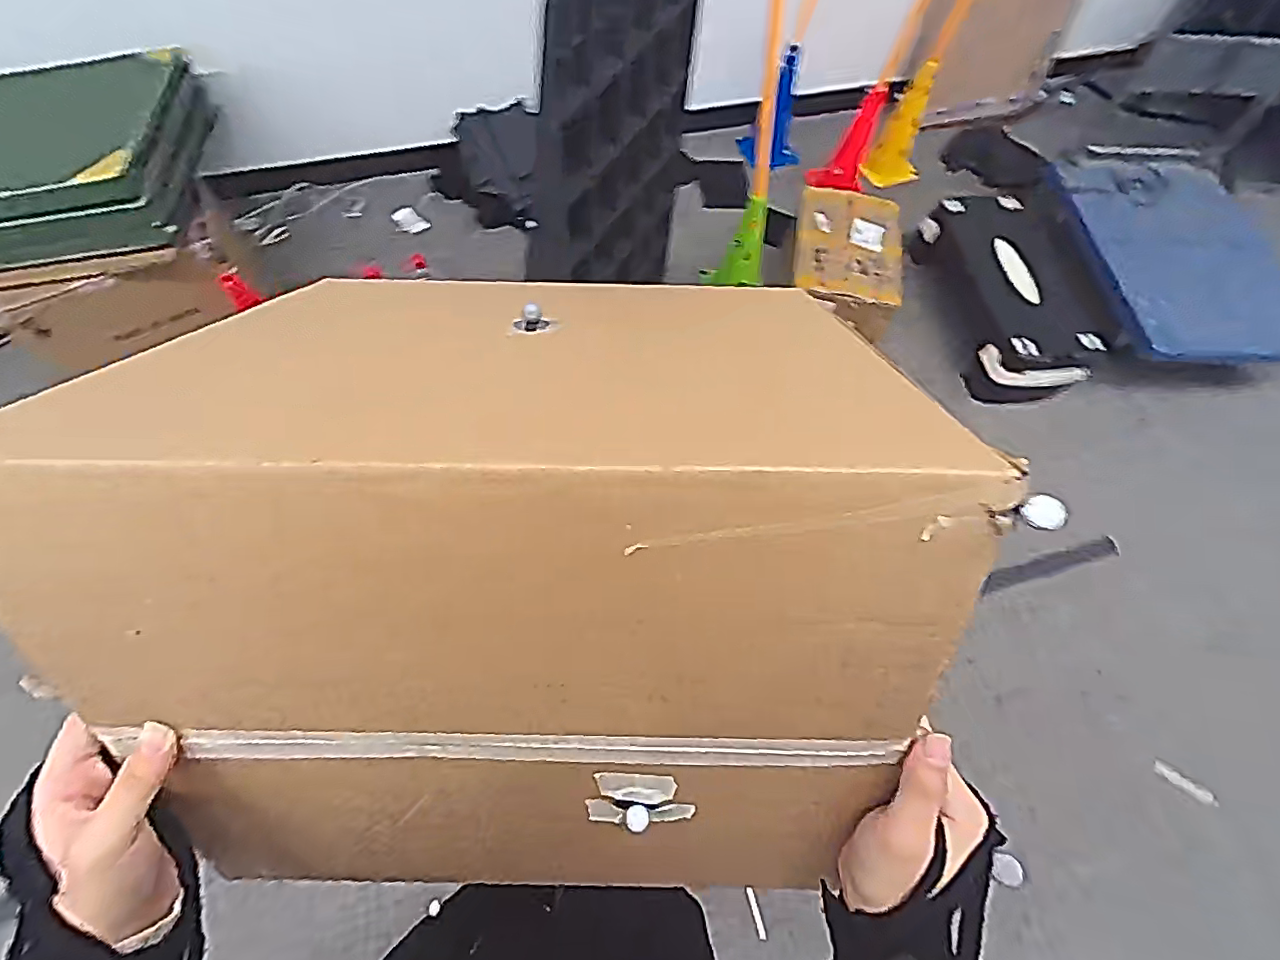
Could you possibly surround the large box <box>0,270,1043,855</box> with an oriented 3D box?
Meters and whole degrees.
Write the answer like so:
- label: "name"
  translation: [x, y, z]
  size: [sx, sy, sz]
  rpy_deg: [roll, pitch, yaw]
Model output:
- label: "large box"
  translation: [-0.054, 0.030, 0.396]
  size: [0.408, 0.320, 0.320]
  rpy_deg: [1, 32, 0]
